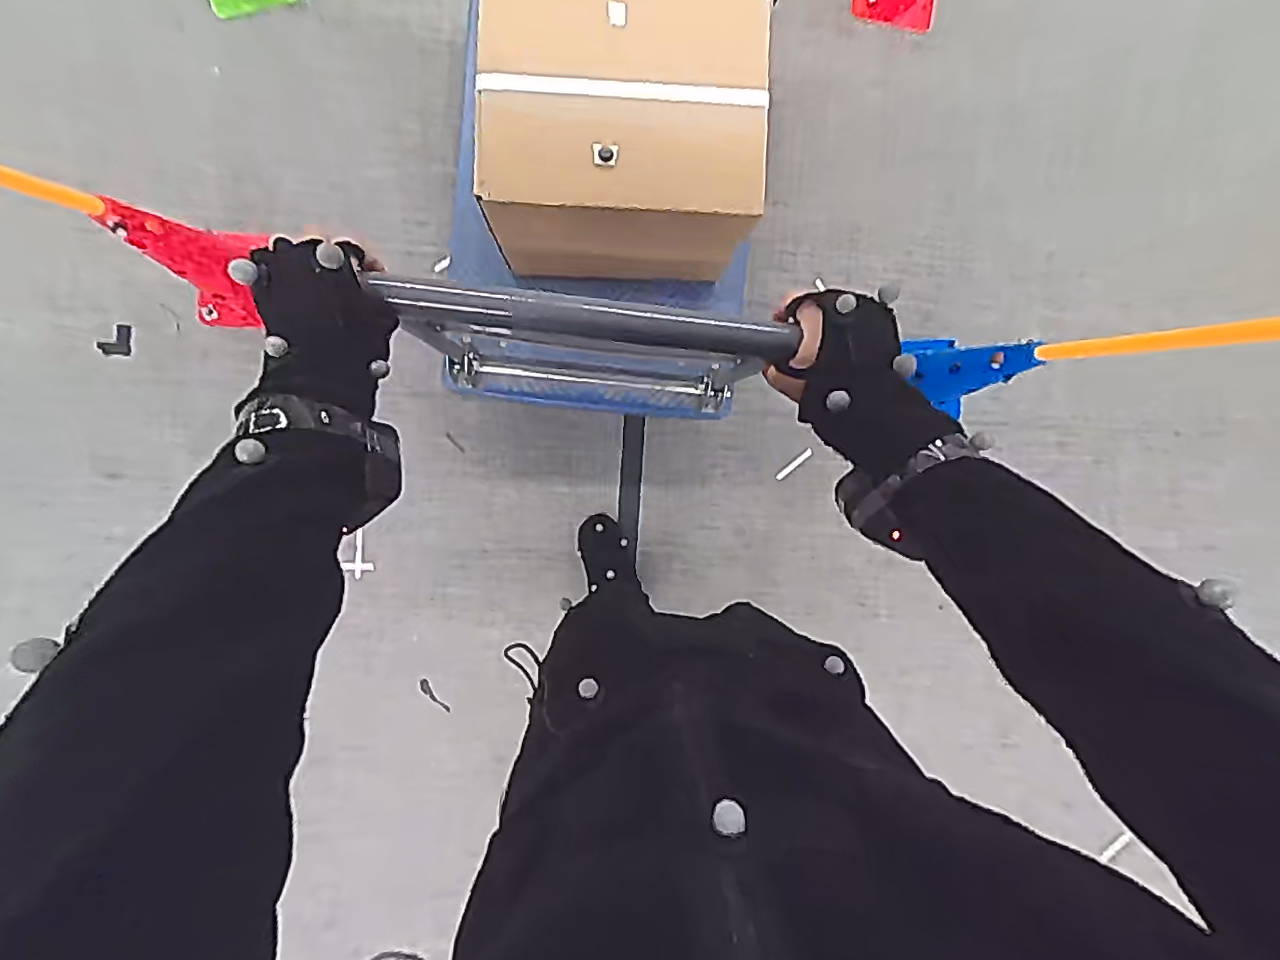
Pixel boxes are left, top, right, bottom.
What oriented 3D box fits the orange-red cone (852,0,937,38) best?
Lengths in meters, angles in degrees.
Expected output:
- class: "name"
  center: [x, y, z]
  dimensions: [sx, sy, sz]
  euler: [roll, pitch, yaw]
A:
- class: "orange-red cone"
  center: [0.616, -1.138, 1.088]
  dimensions: [0.199, 0.360, 0.198]
  euler: [9, 92, -6]
